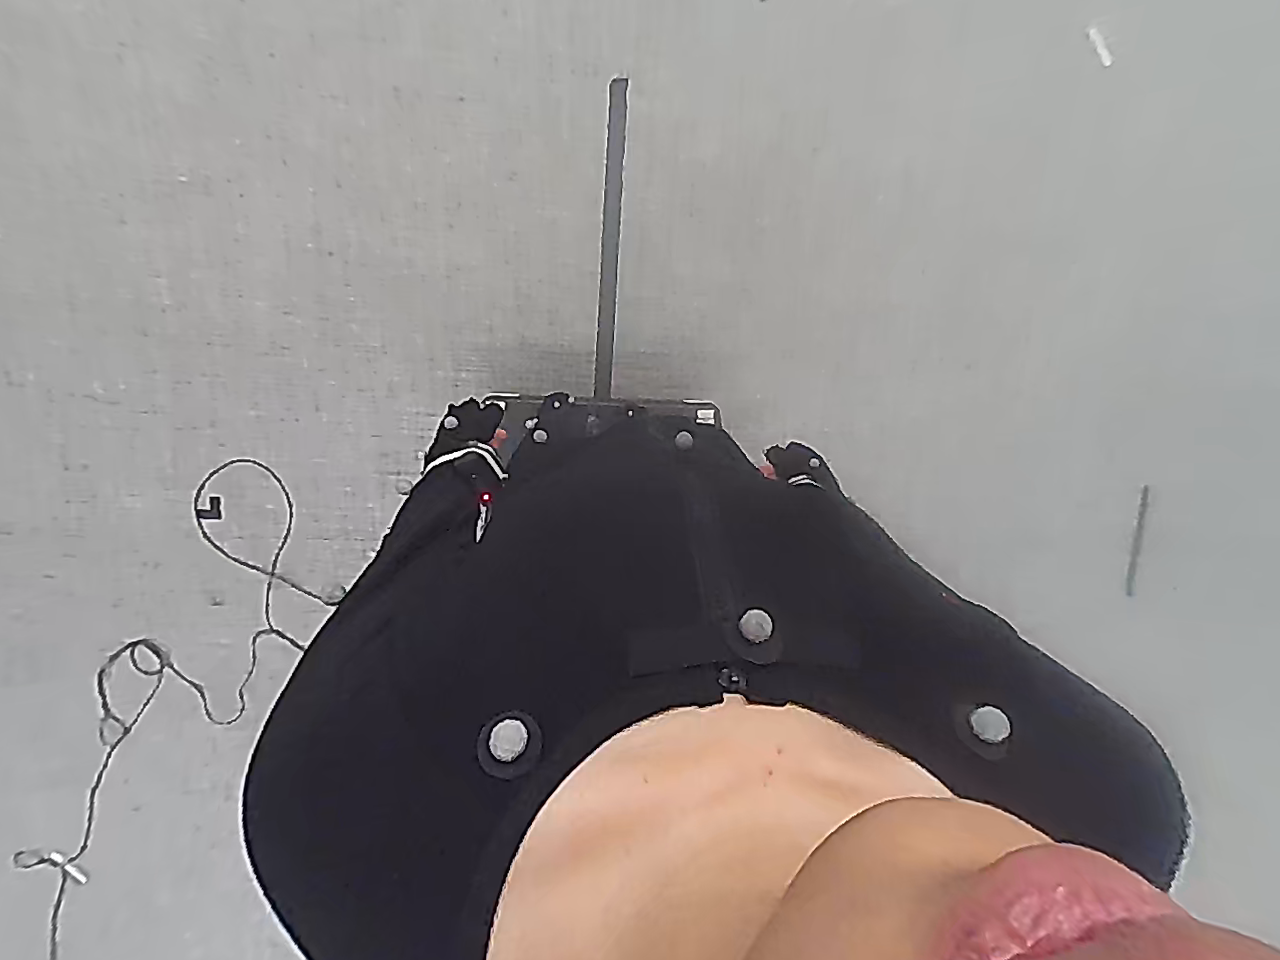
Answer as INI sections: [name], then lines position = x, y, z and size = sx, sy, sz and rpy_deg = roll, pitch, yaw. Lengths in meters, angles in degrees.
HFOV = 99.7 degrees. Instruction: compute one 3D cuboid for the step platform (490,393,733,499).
[step platform]
position = -0.080, -0.099, 1.553
size = 0.684, 0.204, 0.286
rpy_deg = 0, 99, -6
